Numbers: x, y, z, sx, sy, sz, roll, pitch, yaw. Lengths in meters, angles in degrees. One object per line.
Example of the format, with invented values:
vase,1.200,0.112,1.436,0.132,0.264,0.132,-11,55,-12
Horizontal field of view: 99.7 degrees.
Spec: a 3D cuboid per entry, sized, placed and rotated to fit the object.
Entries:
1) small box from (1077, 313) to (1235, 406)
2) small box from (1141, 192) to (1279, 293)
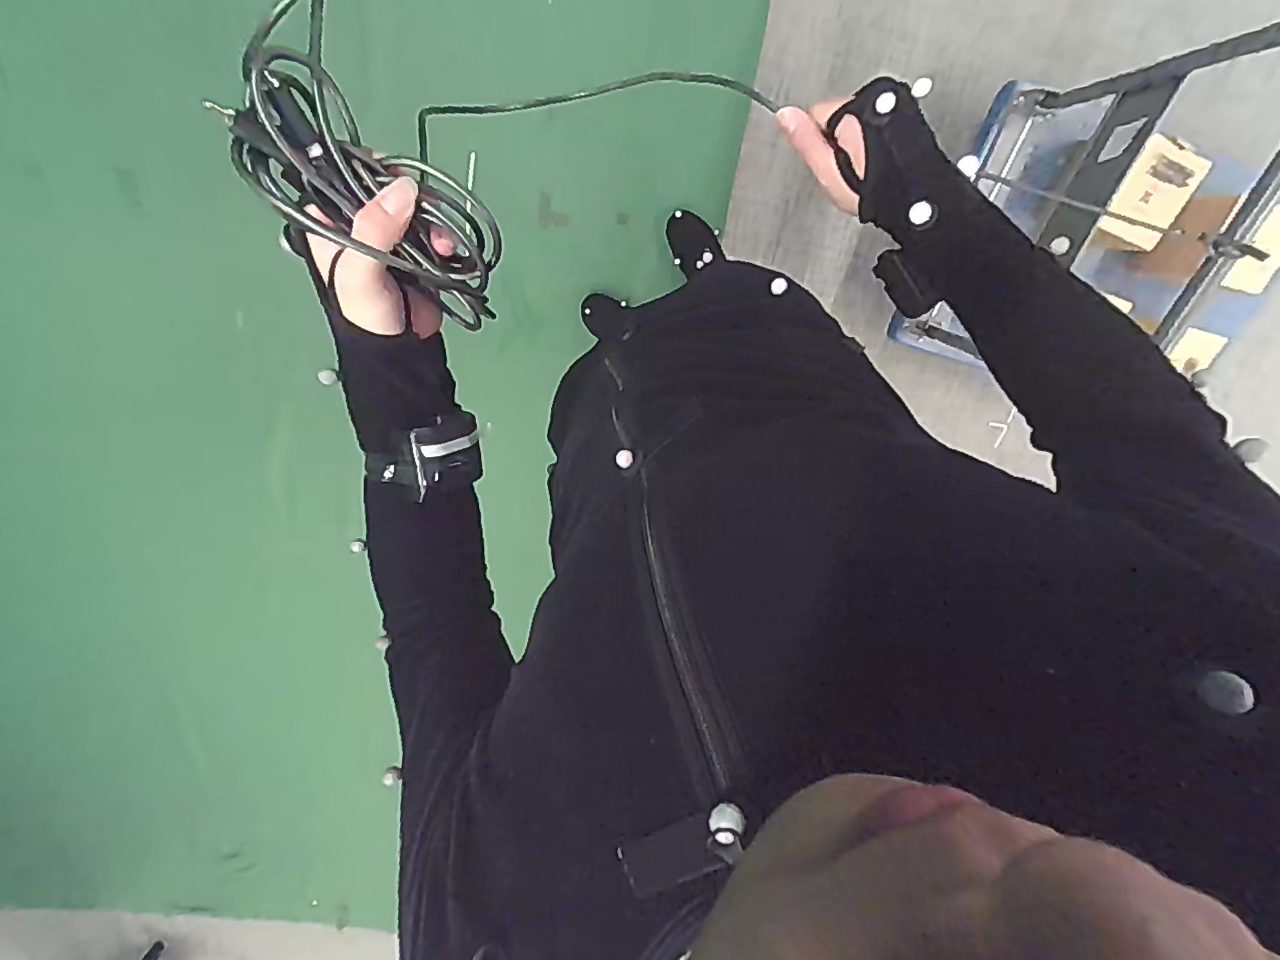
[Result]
small box,1.229,-0.298,1.303,0.179,0.176,0.168,13,114,-6
small box,1.289,-0.524,1.197,0.179,0.176,0.168,11,115,-6
